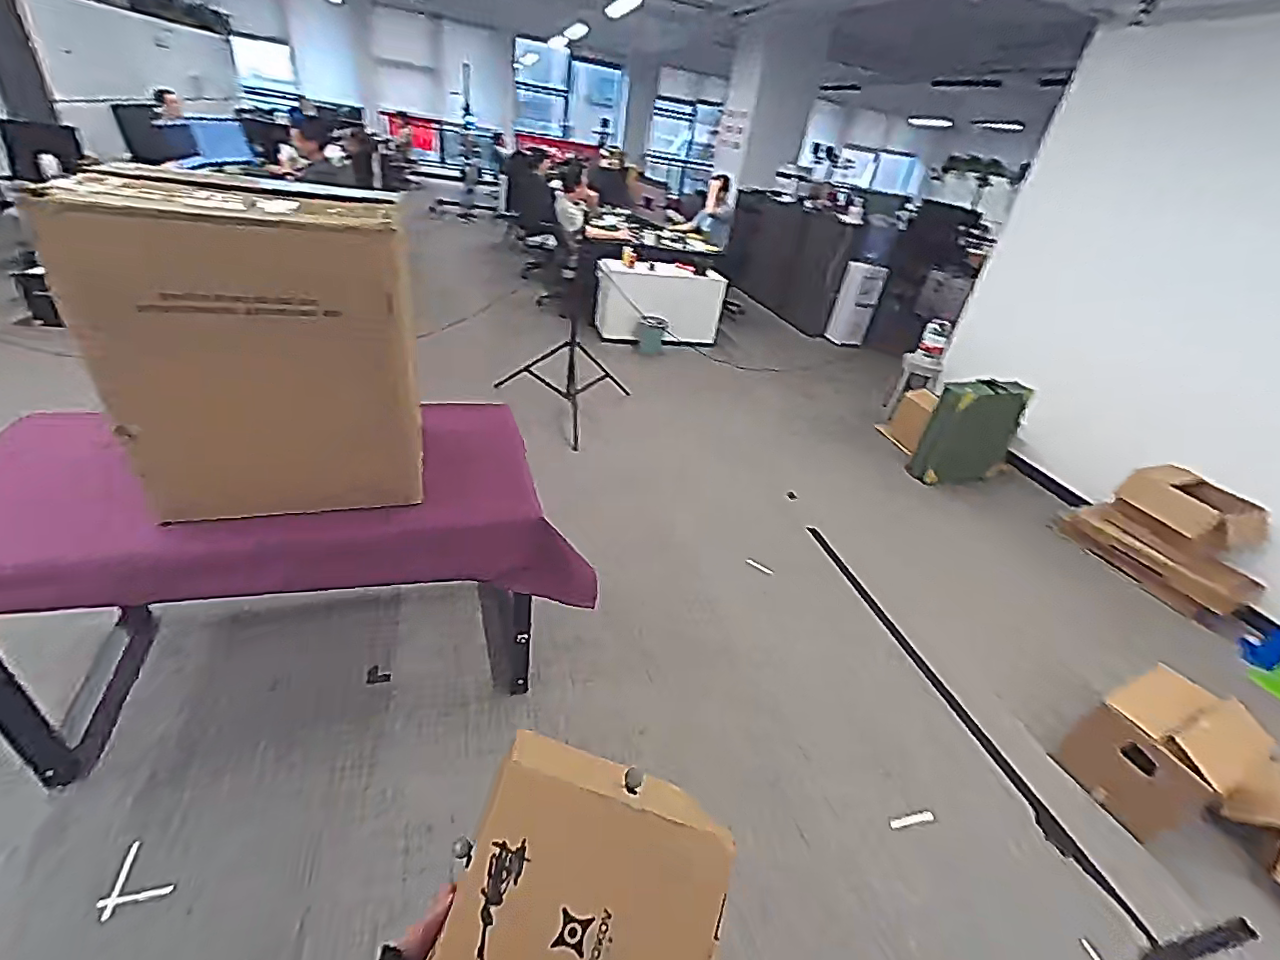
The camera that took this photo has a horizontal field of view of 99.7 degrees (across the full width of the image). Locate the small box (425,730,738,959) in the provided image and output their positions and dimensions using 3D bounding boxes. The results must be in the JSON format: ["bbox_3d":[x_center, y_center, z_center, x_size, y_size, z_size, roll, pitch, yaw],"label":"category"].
[{"bbox_3d":[-0.051,0.314,0.428,0.179,0.176,0.168,22,68,-5],"label":"small box"}]
